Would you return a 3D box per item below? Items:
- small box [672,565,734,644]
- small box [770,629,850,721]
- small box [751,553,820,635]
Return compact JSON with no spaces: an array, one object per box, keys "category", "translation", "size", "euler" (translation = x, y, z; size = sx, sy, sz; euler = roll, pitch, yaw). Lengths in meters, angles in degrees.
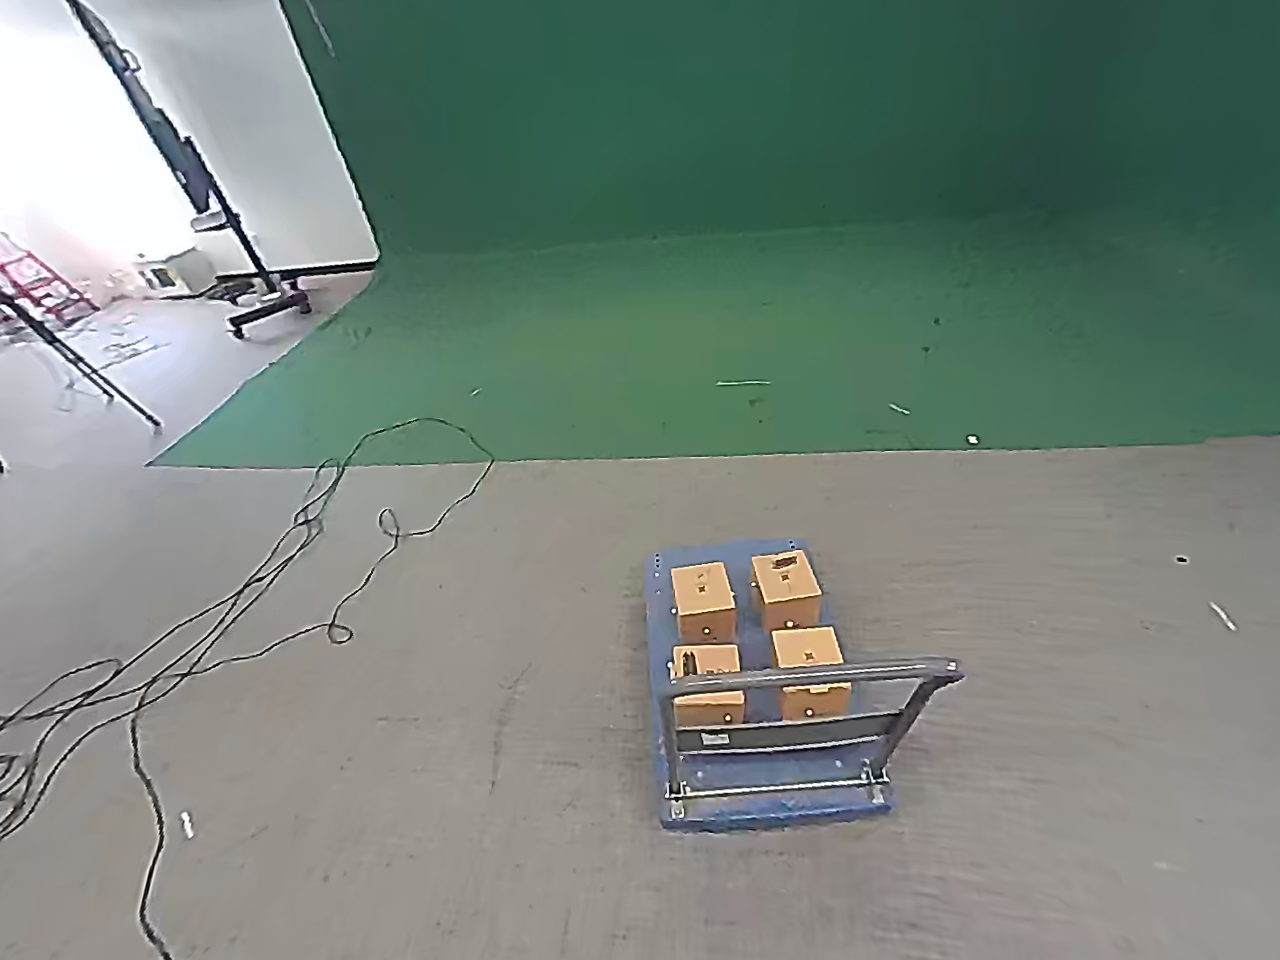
[{"category":"small box","translation":[0.196,0.392,1.679],"size":[0.168,0.176,0.179],"euler":[-8,41,-1]},{"category":"small box","translation":[0.455,0.532,1.478],"size":[0.168,0.176,0.179],"euler":[-5,41,3]},{"category":"small box","translation":[0.444,0.354,1.681],"size":[0.168,0.176,0.179],"euler":[-9,42,1]}]
